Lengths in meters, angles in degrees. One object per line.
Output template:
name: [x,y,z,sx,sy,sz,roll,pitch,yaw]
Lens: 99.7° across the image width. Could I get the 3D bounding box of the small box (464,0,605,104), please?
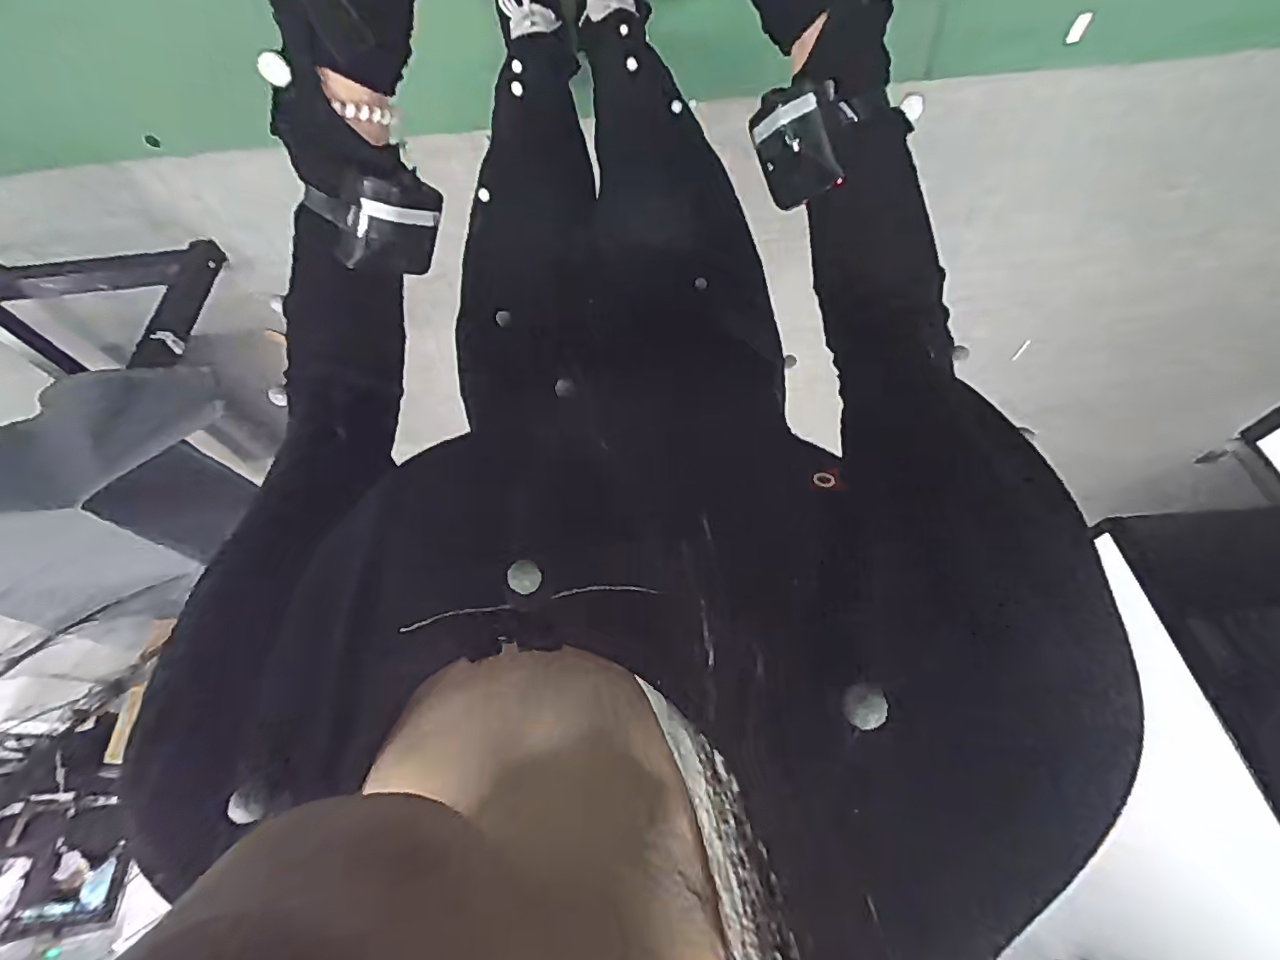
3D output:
small box: [-0.179,-0.797,0.915,0.179,0.176,0.168,30,146,-19]
